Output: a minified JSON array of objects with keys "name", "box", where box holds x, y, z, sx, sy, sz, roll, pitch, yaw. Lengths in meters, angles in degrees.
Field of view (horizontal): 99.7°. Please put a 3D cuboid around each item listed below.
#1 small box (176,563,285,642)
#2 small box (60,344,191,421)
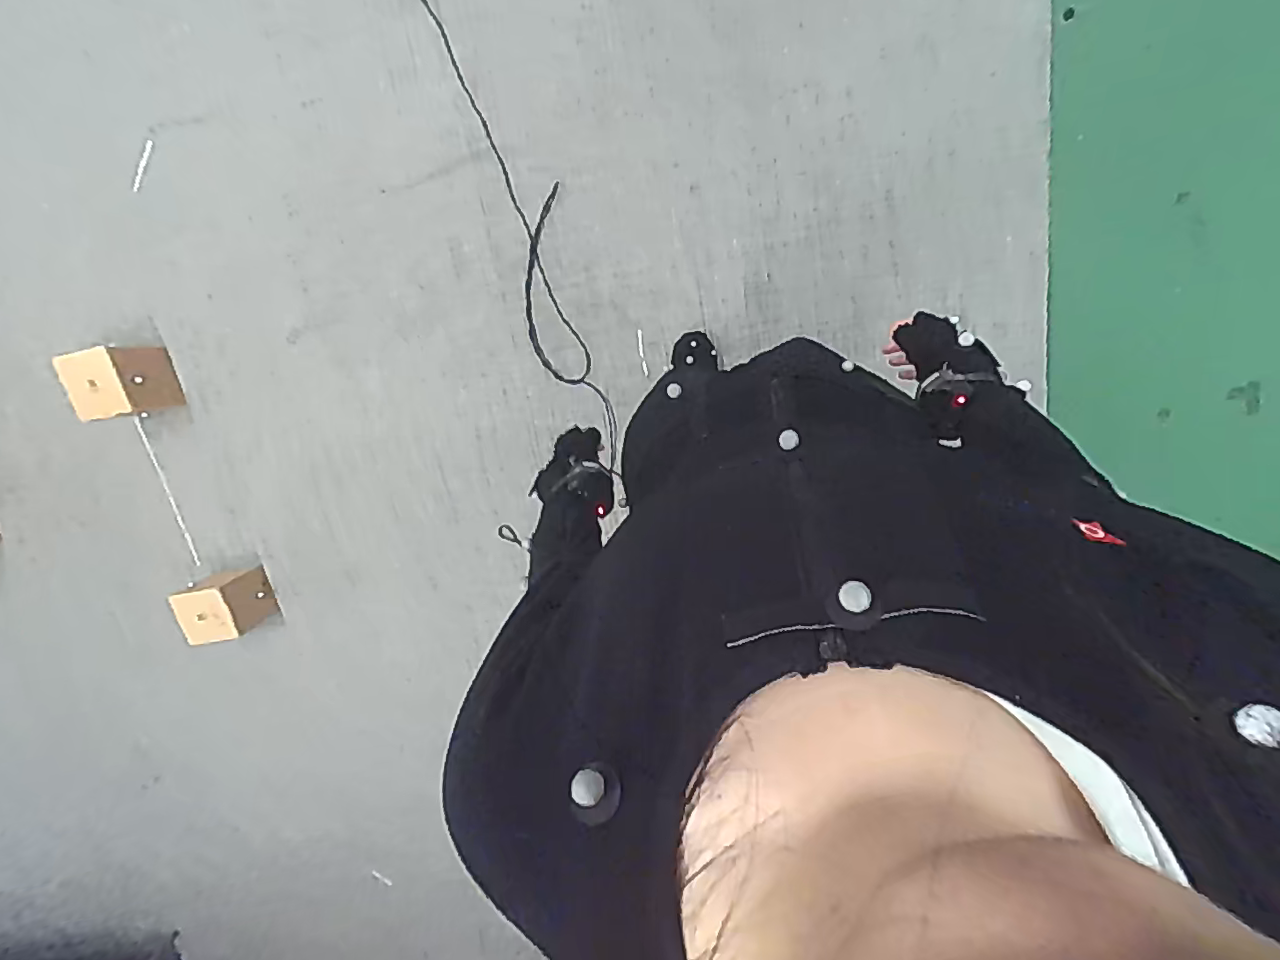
[{"name":"small box","box":[-1.249,0.372,1.661,0.179,0.176,0.168,-10,105,8]},{"name":"small box","box":[-1.407,-0.273,1.491,0.168,0.176,0.179,-10,105,8]}]
